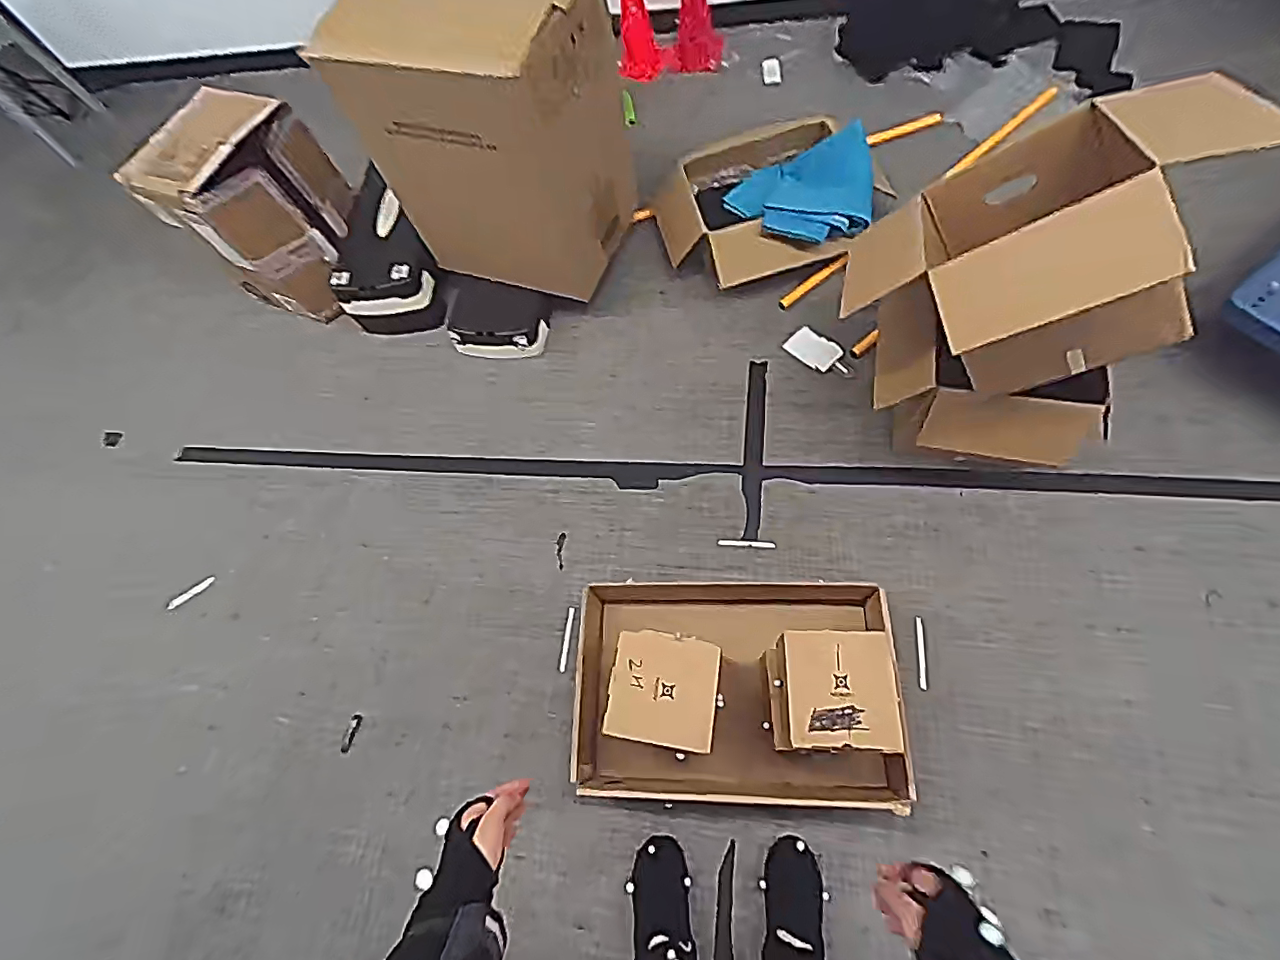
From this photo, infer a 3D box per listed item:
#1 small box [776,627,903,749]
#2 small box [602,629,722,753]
[{"bbox_3d":[0.323,0.348,0.910,0.168,0.176,0.179,-2,66,8],"label":"small box"},{"bbox_3d":[0.045,0.366,0.947,0.179,0.176,0.168,6,68,10],"label":"small box"}]
